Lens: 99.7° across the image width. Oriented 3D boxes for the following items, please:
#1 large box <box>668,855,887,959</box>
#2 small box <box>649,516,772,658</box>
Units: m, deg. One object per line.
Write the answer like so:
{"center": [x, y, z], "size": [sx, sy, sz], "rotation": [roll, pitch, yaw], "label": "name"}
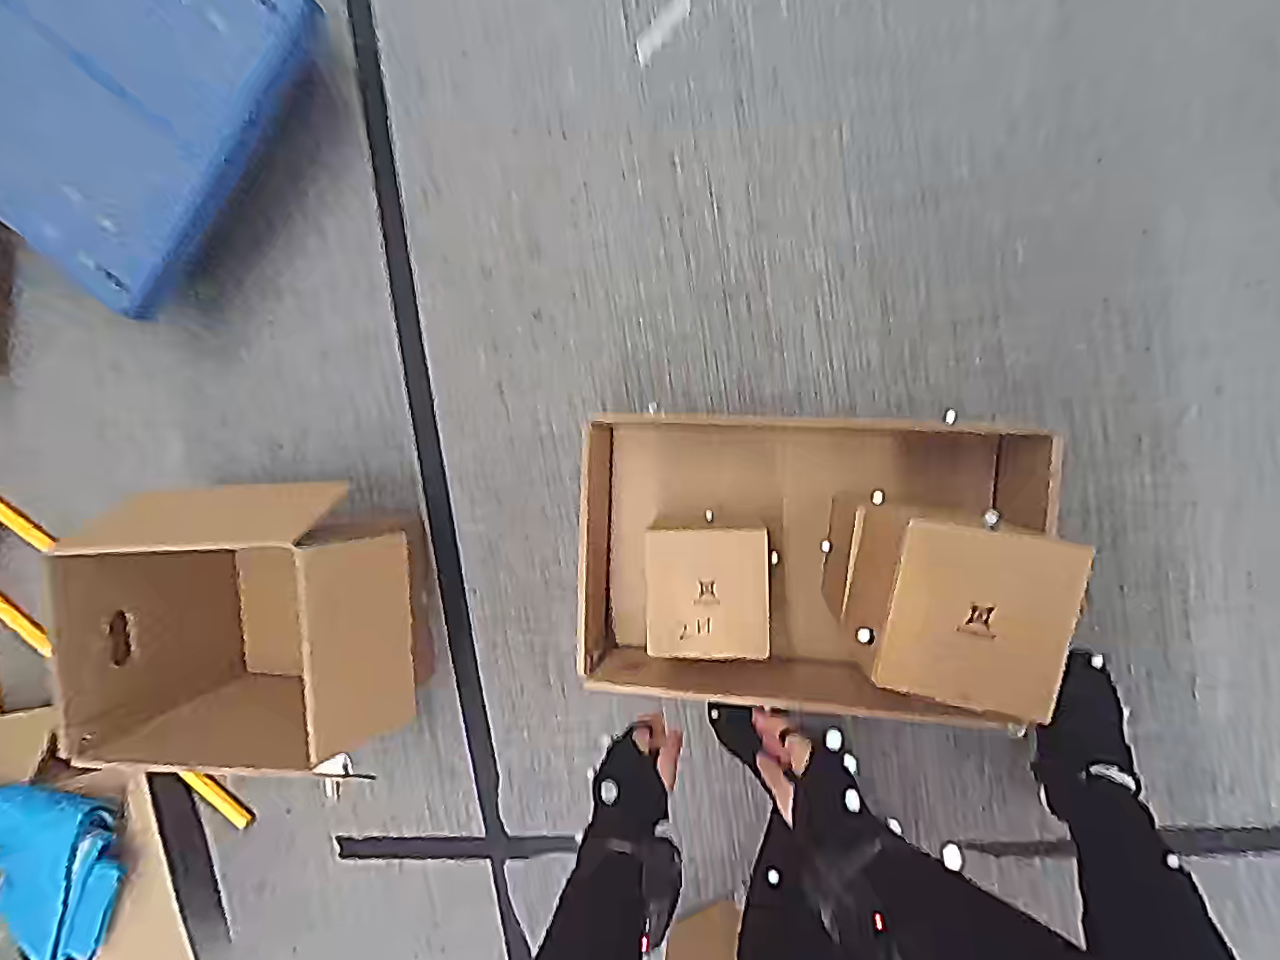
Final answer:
{"center": [0.268, 0.898, 0.809], "size": [0.320, 0.320, 0.408], "rotation": [-35, 89, 10], "label": "large box"}
{"center": [0.102, 0.147, 0.801], "size": [0.168, 0.176, 0.179], "rotation": [-1, 93, 8], "label": "small box"}
